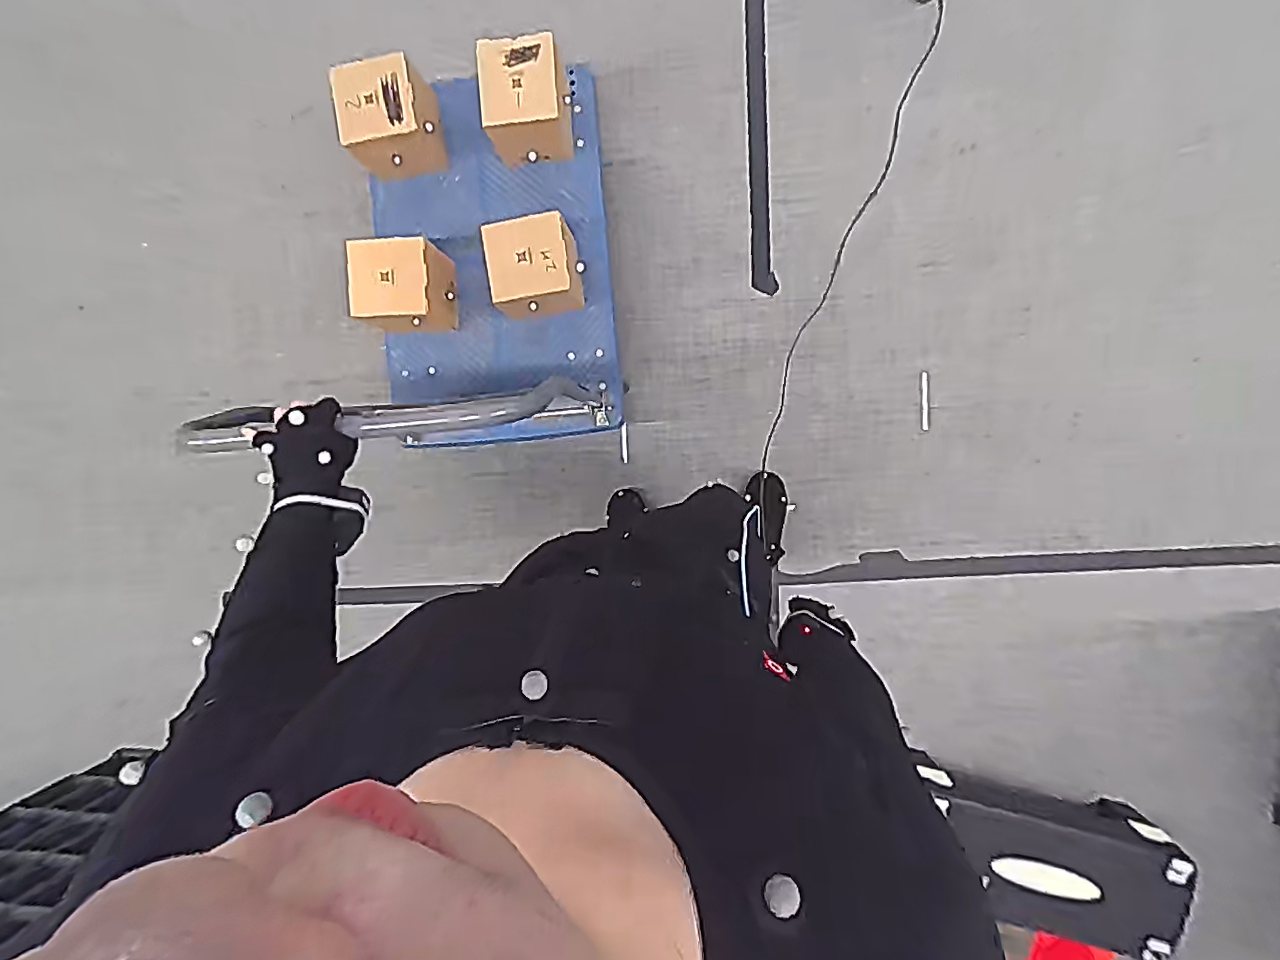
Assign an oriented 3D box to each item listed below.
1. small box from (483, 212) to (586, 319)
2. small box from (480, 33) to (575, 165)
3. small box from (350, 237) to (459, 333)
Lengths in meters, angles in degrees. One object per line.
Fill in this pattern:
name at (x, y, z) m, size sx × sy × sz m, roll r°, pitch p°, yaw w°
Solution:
small box at (-0.231, -0.474, 1.221) m, size 0.179 × 0.176 × 0.168 m, roll -8°, pitch 92°, yaw 5°
small box at (-0.244, -0.838, 1.204) m, size 0.168 × 0.176 × 0.179 m, roll -3°, pitch 94°, yaw 5°
small box at (-0.537, -0.442, 1.249) m, size 0.179 × 0.176 × 0.168 m, roll -2°, pitch 92°, yaw 3°
